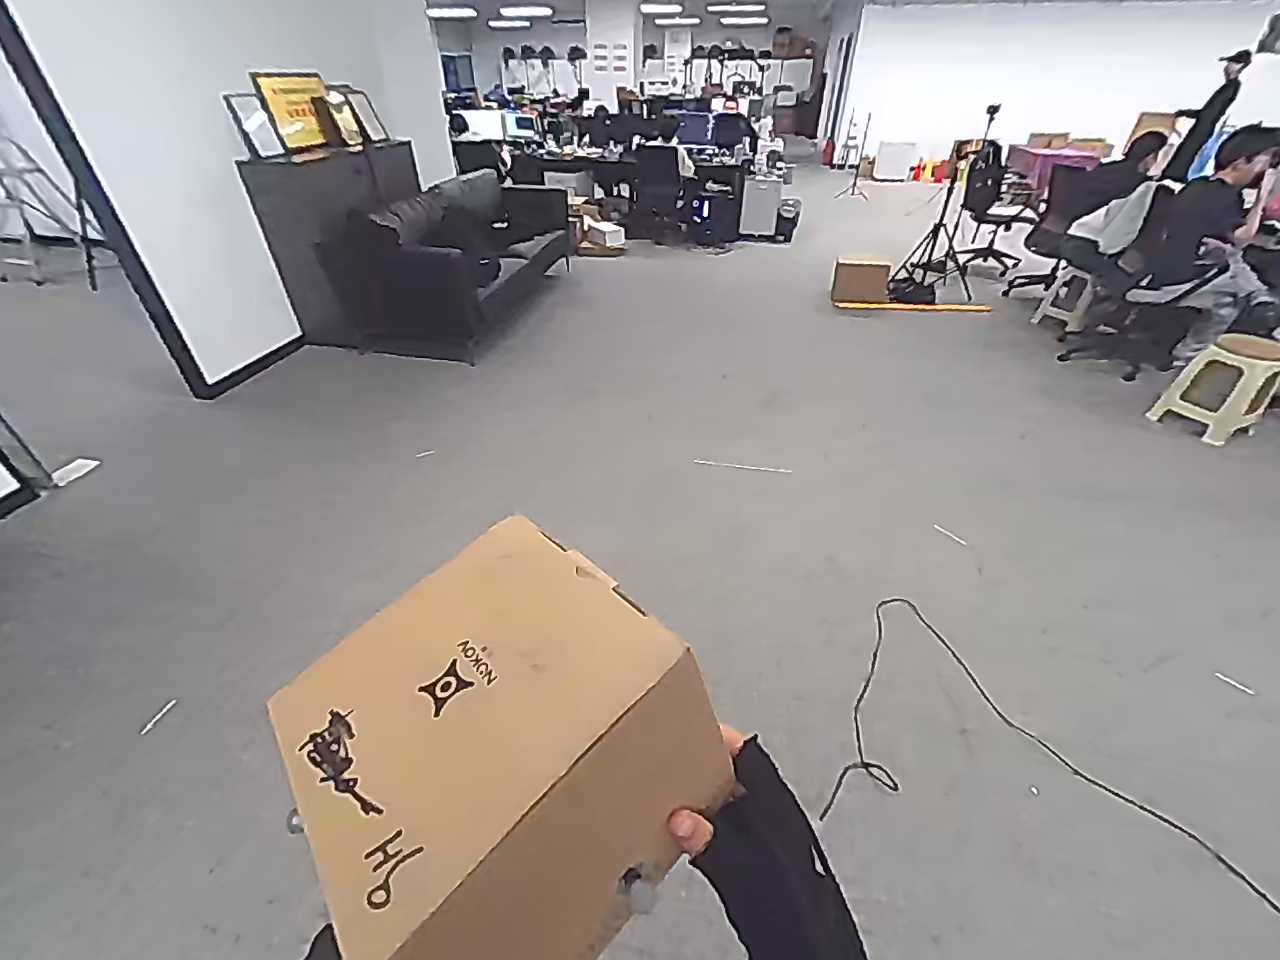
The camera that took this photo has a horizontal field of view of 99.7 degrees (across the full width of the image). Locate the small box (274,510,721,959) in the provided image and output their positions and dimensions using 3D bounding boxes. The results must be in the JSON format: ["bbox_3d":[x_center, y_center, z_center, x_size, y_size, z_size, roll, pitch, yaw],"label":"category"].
[{"bbox_3d":[-0.068,0.156,0.325,0.179,0.176,0.168,-38,42,-24],"label":"small box"}]
